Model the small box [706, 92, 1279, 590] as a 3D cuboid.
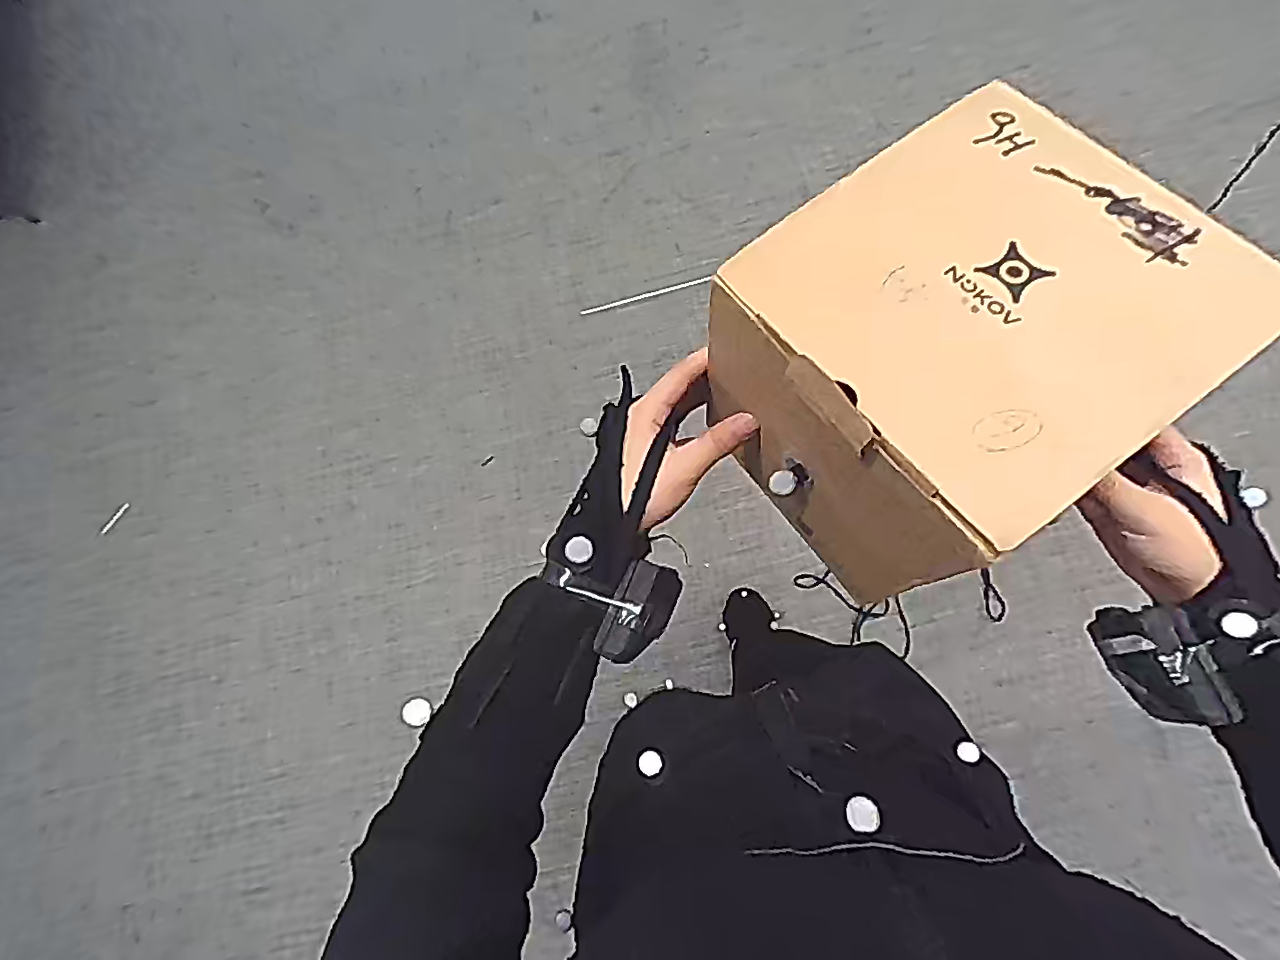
[{"bbox_3d":[0.156,-0.055,0.308,0.179,0.176,0.168,-36,72,-5],"label":"small box"}]
